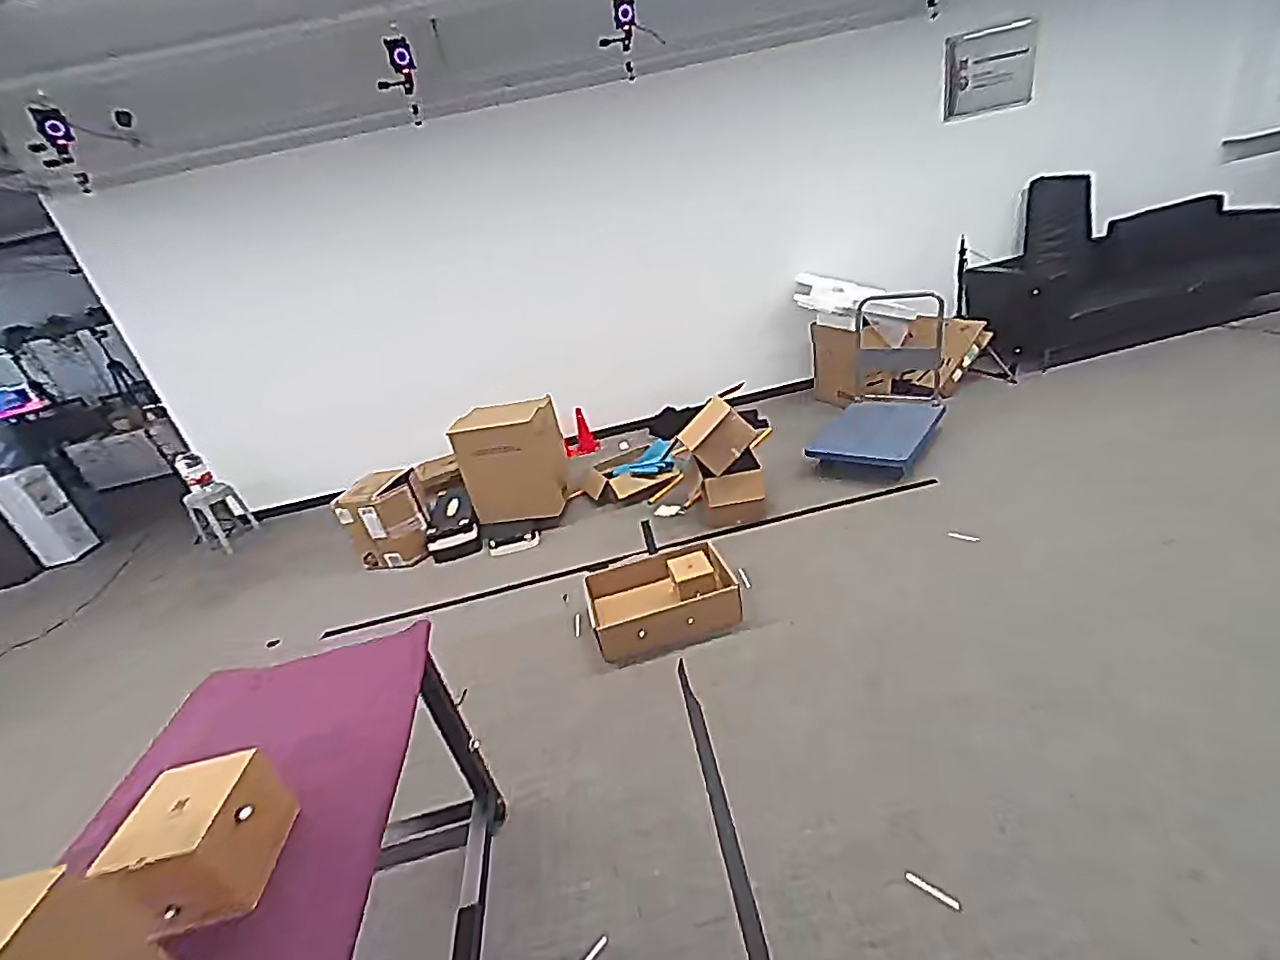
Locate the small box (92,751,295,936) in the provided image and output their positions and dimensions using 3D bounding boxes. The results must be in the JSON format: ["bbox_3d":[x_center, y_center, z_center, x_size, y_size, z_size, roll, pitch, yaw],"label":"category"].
[{"bbox_3d":[-0.709,0.593,0.891,0.168,0.176,0.179,-13,25,-2],"label":"small box"}]

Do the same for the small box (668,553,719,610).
[{"bbox_3d":[0.234,0.450,2.360,0.168,0.176,0.179,-15,24,-6],"label":"small box"}]

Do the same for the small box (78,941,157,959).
[{"bbox_3d":[-0.663,0.702,0.631,0.168,0.176,0.179,-14,24,-2],"label":"small box"}]
